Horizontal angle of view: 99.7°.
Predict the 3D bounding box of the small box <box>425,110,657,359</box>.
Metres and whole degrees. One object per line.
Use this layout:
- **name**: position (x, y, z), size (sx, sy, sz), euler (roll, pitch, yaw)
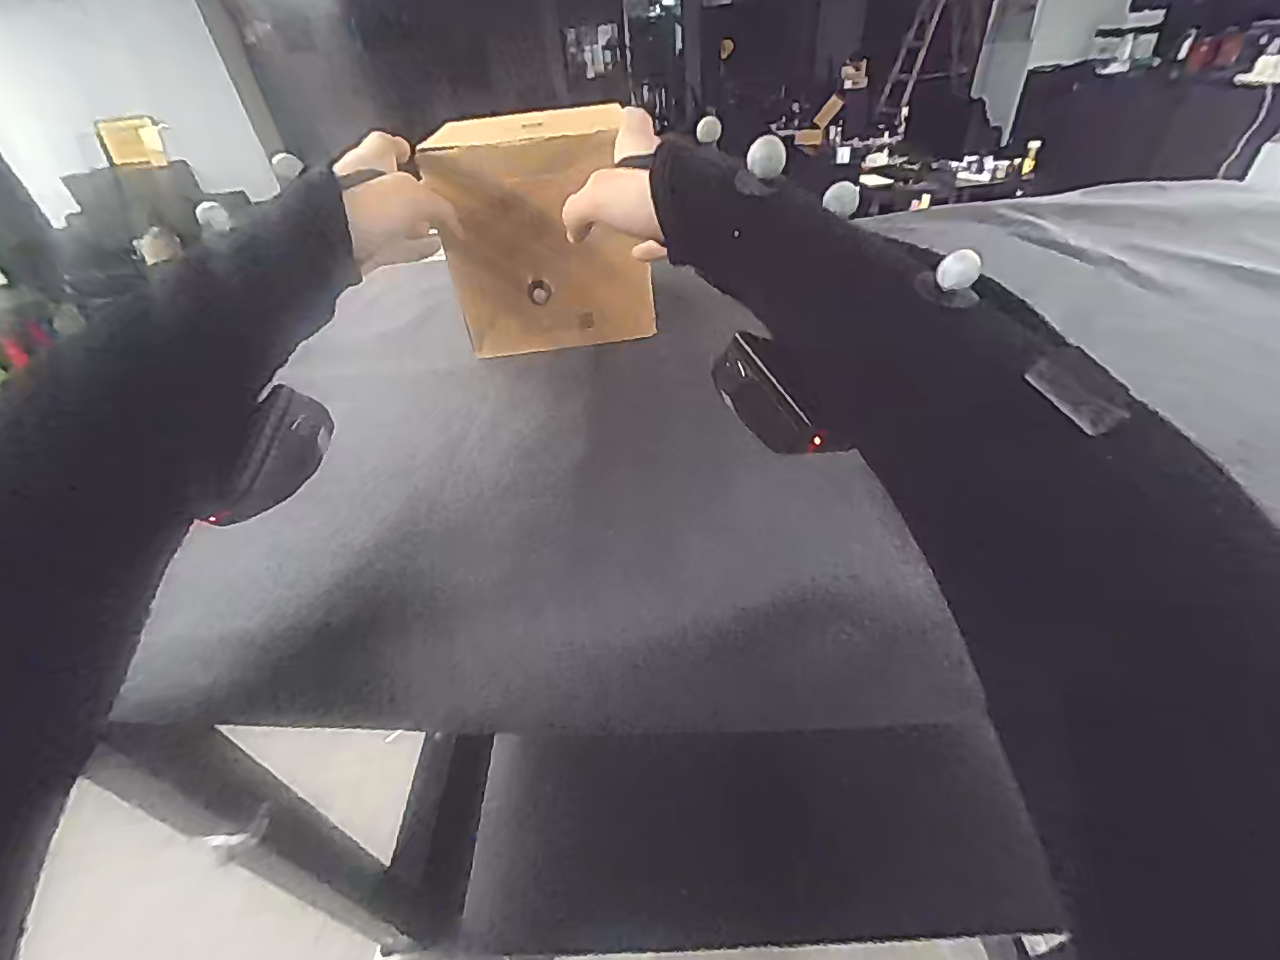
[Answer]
- **small box**: position (-0.079, -0.232, 0.507), size (0.168, 0.176, 0.179), euler (-8, 40, -3)
